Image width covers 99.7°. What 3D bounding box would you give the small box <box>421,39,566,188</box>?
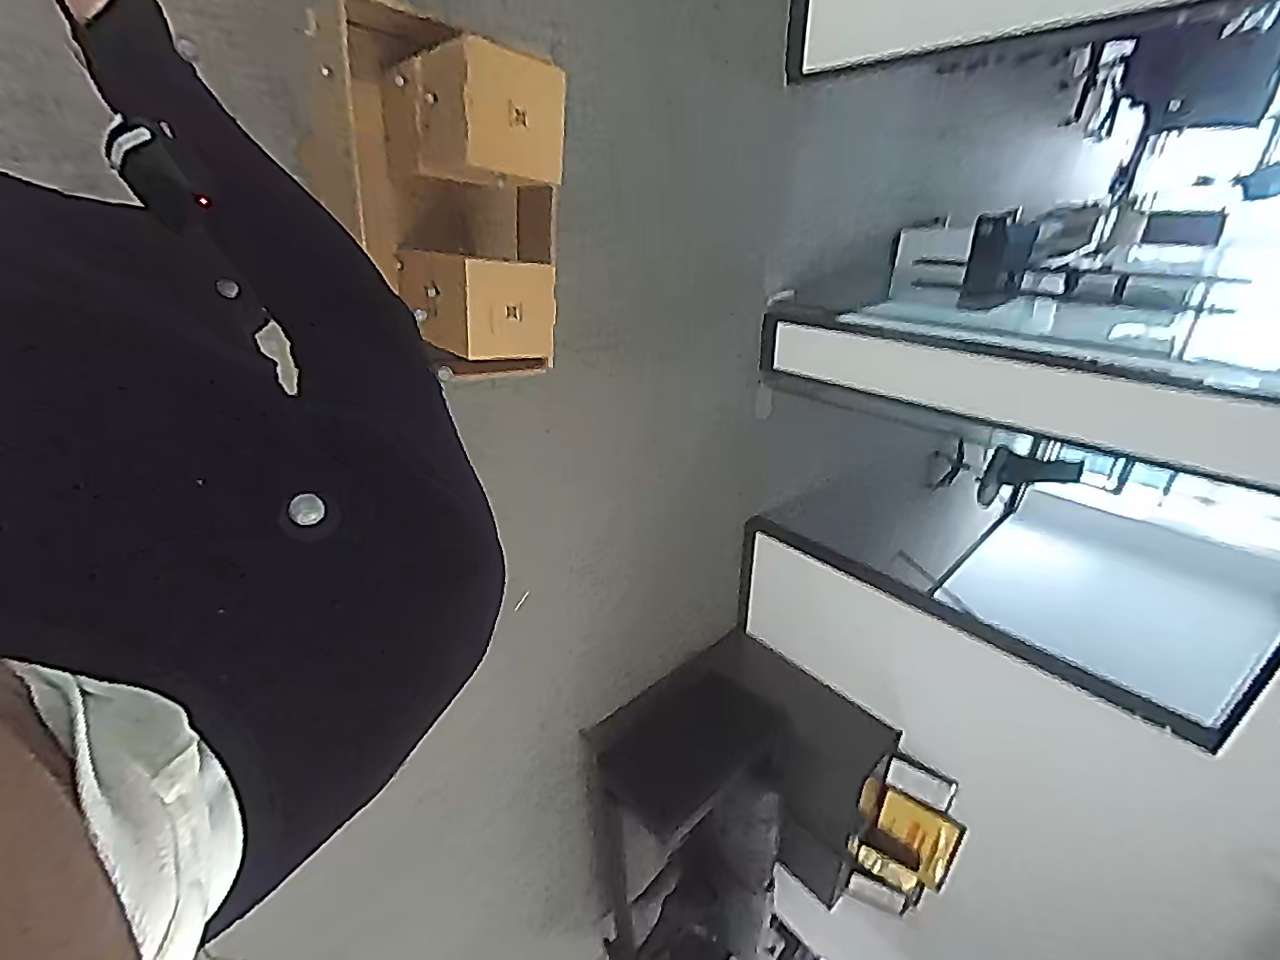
[{"bbox_3d":[-0.247,-0.599,0.907,0.179,0.176,0.168,-13,119,-41],"label":"small box"}]

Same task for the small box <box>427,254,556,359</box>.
[{"bbox_3d":[-0.279,-0.326,1.013,0.179,0.176,0.168,-13,118,-40],"label":"small box"}]
